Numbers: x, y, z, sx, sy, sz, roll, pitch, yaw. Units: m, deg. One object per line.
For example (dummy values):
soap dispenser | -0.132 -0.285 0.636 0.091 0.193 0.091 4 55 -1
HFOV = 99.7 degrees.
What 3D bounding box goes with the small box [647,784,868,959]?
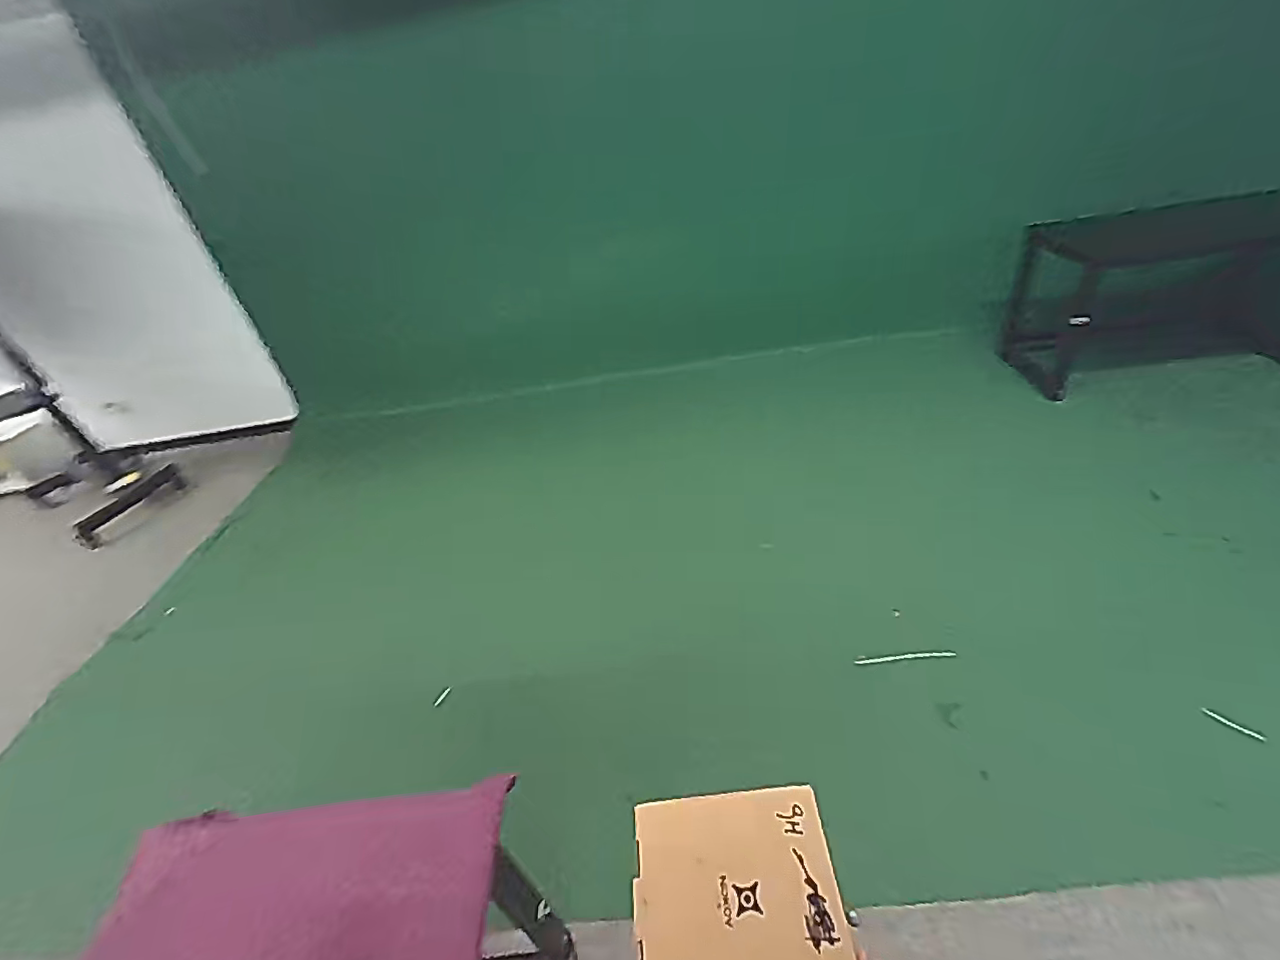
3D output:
small box | 0.108 0.414 0.520 0.179 0.176 0.168 -8 44 6
